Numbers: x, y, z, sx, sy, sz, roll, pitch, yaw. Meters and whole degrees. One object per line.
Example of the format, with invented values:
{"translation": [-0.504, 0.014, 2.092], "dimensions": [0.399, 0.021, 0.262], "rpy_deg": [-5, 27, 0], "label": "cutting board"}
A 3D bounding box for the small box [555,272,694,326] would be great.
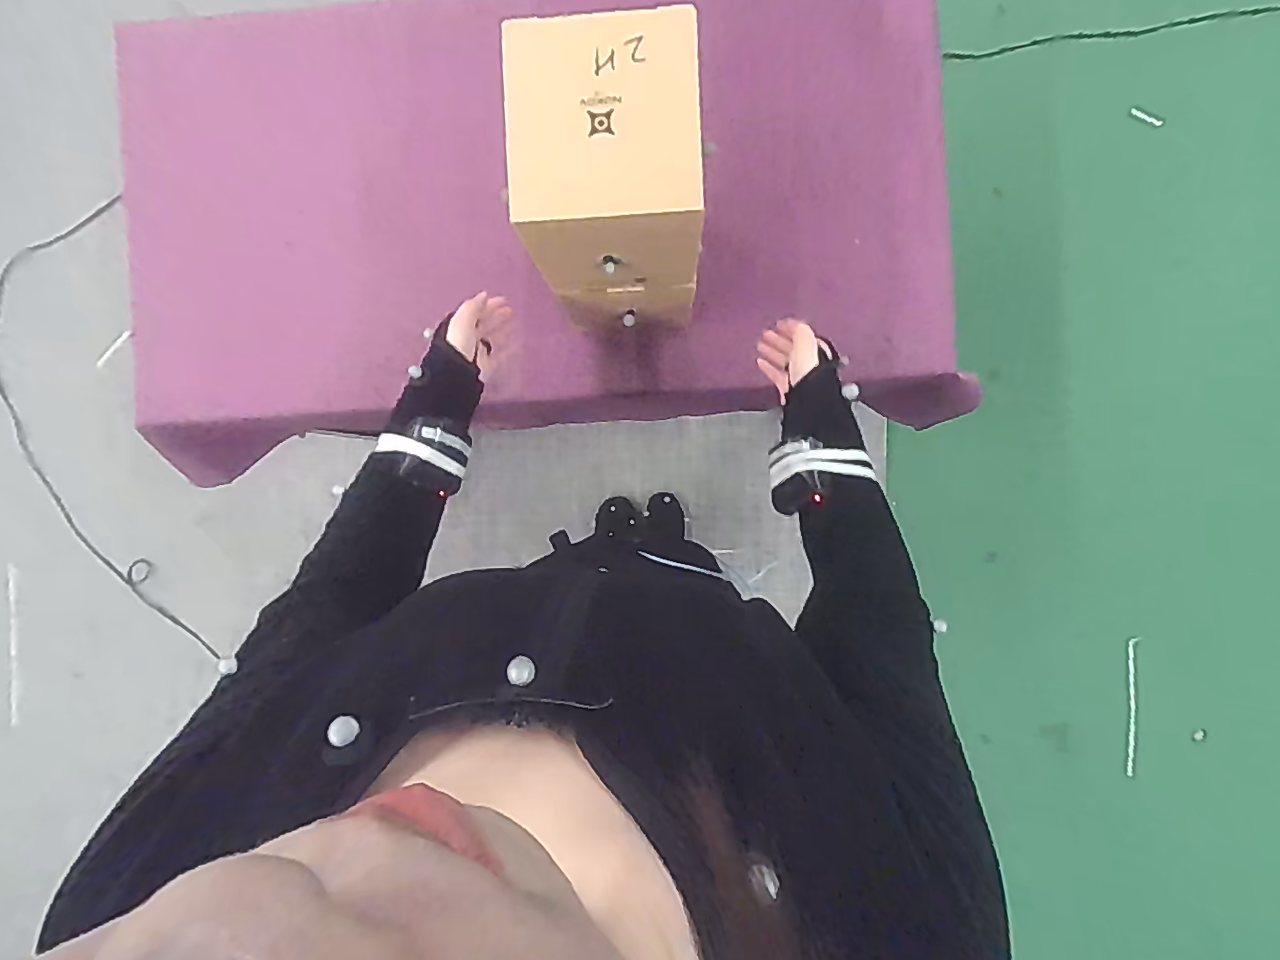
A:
{"translation": [-0.015, -0.304, 0.701], "dimensions": [0.168, 0.176, 0.179], "rpy_deg": [-1, 91, 2], "label": "small box"}

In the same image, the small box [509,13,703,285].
{"translation": [-0.025, -0.303, 0.536], "dimensions": [0.168, 0.176, 0.179], "rpy_deg": [-2, 90, 2], "label": "small box"}
